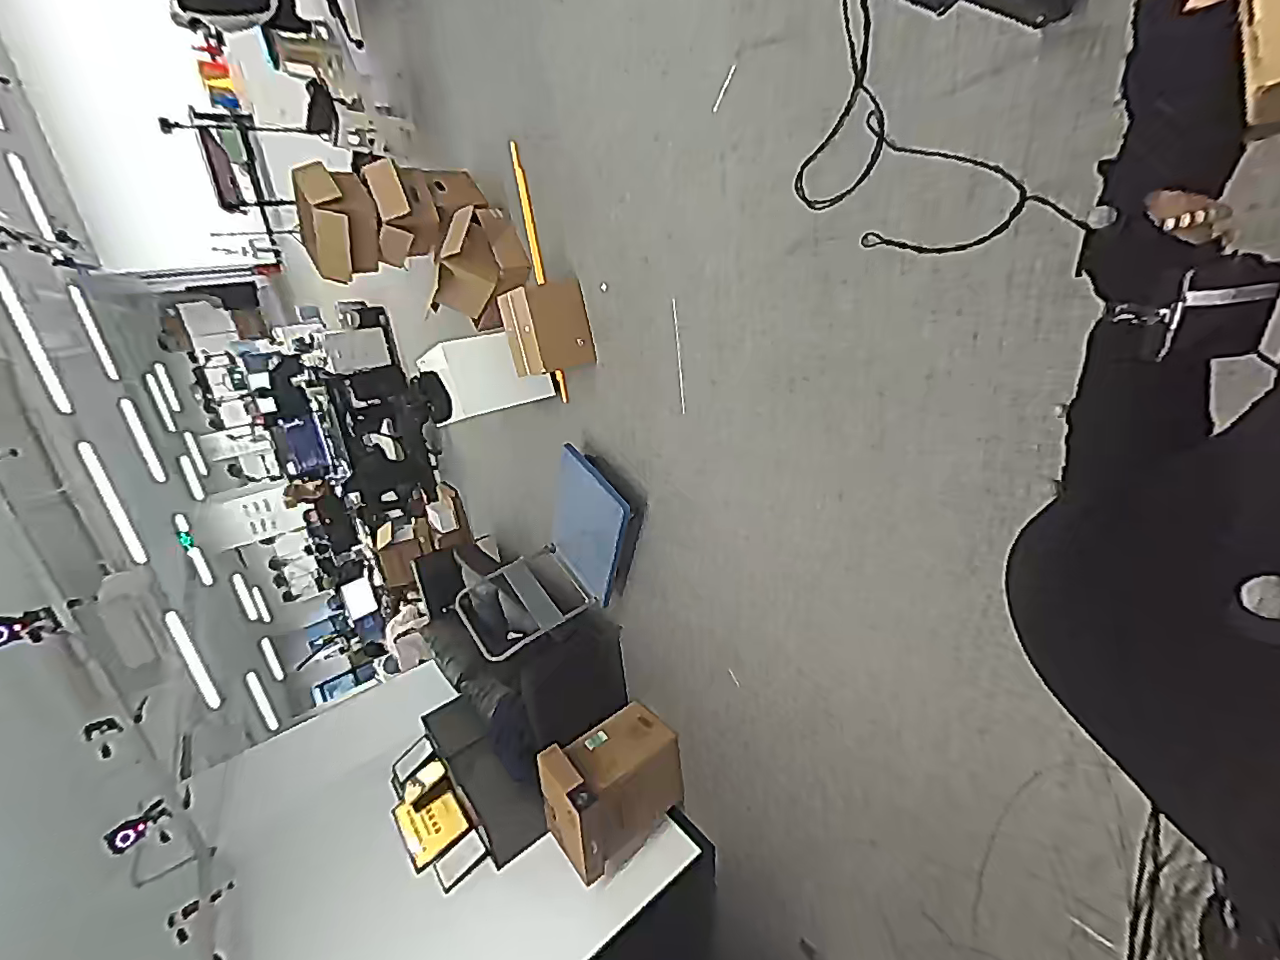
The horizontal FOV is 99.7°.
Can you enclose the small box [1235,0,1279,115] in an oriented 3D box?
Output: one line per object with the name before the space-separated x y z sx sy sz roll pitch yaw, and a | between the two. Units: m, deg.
small box | 0.395 -0.300 0.240 0.179 0.176 0.168 -4 103 46
